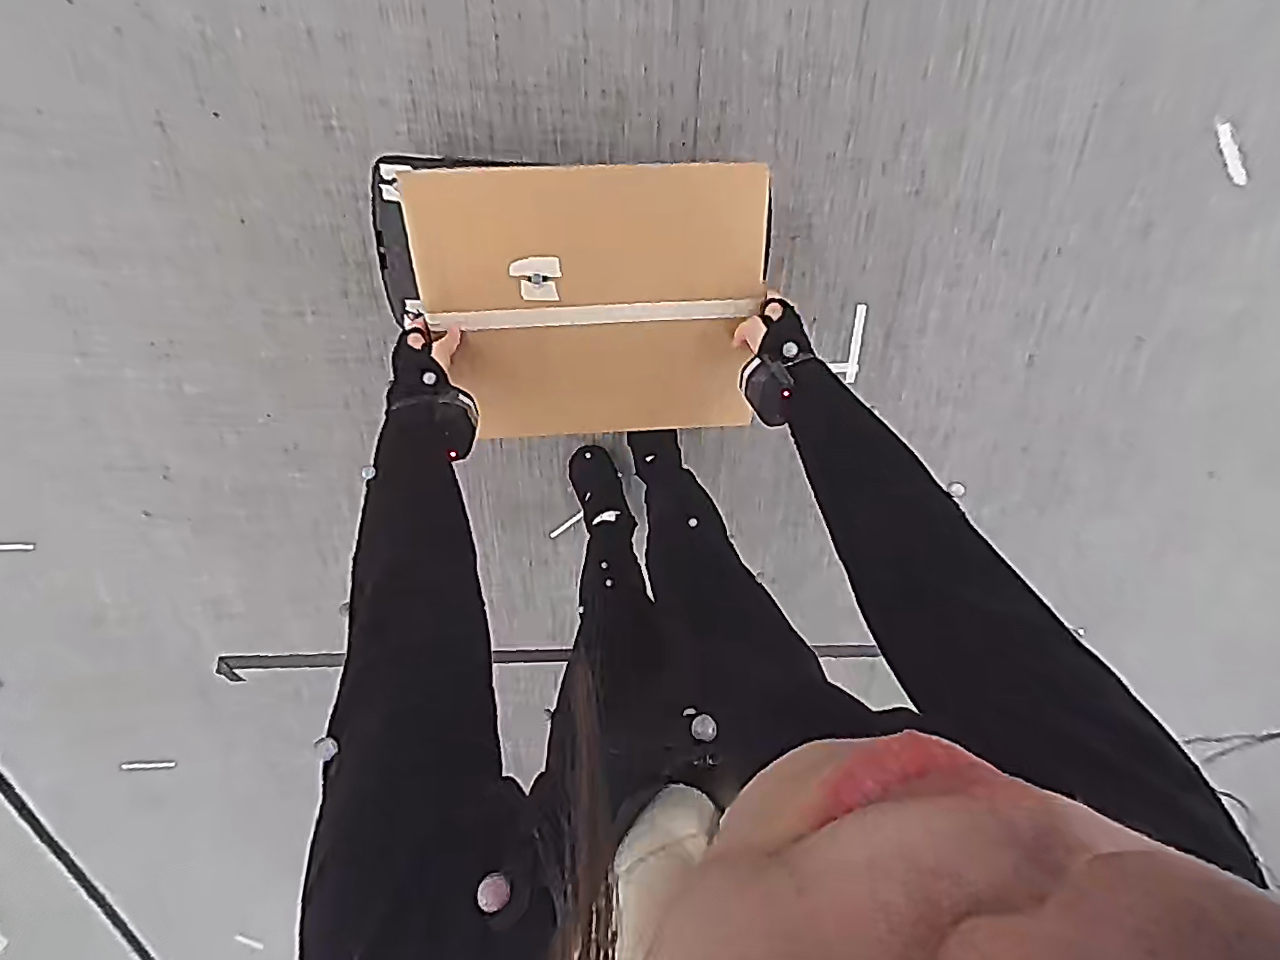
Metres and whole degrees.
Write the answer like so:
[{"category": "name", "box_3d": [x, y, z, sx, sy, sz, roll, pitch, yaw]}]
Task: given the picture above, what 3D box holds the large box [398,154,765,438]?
[{"category": "large box", "box_3d": [-0.063, -0.274, 0.778, 0.408, 0.320, 0.320, -3, 118, -3]}]
